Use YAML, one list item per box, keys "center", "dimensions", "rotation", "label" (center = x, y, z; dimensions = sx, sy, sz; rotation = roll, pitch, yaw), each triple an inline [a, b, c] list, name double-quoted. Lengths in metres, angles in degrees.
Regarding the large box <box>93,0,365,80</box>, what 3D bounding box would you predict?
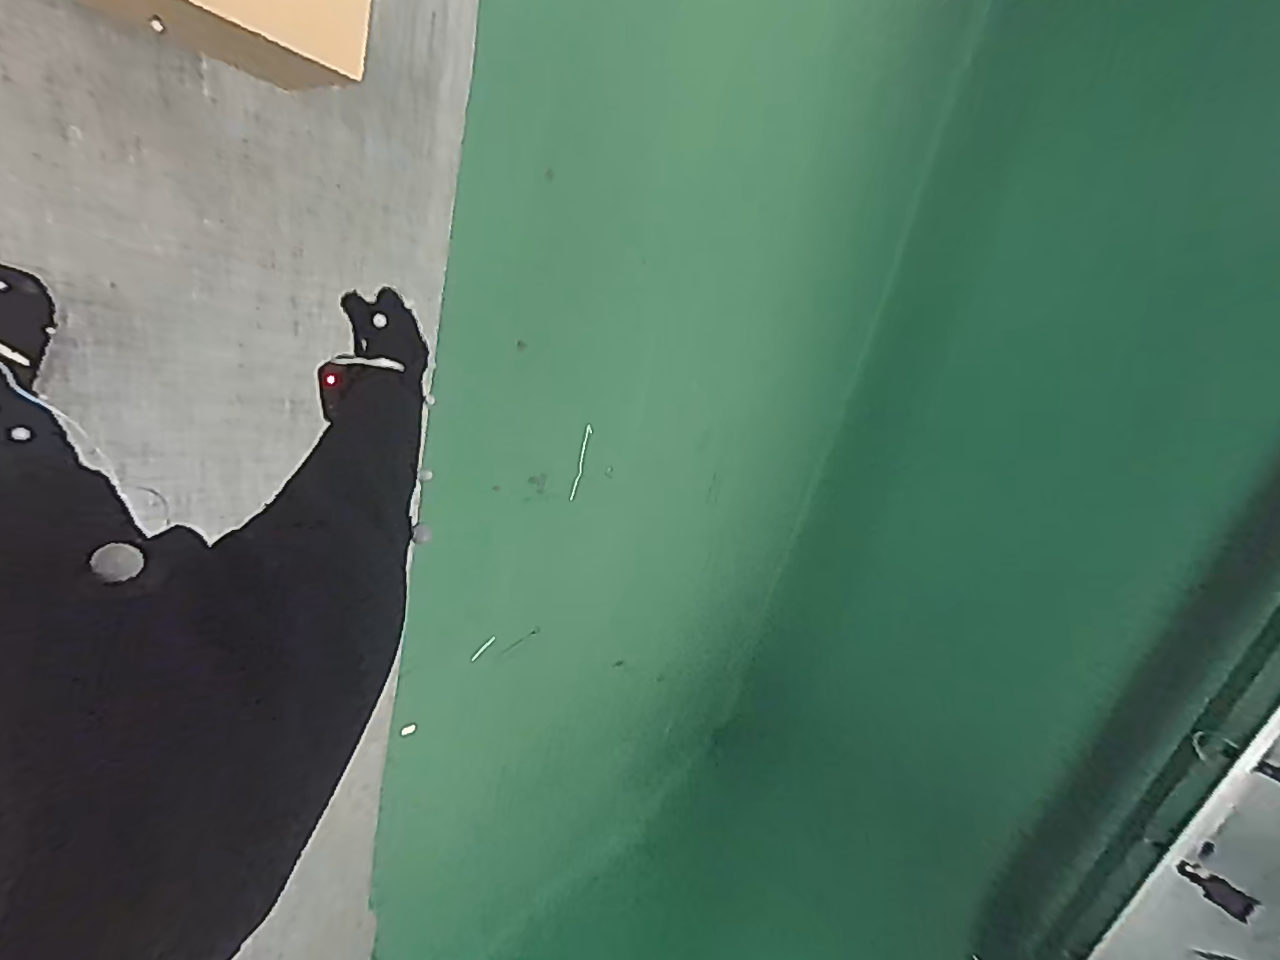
- center: [-0.607, -0.771, 0.683]
  dimensions: [0.408, 0.320, 0.320]
  rotation: [-5, 116, -49]
  label: "large box"
